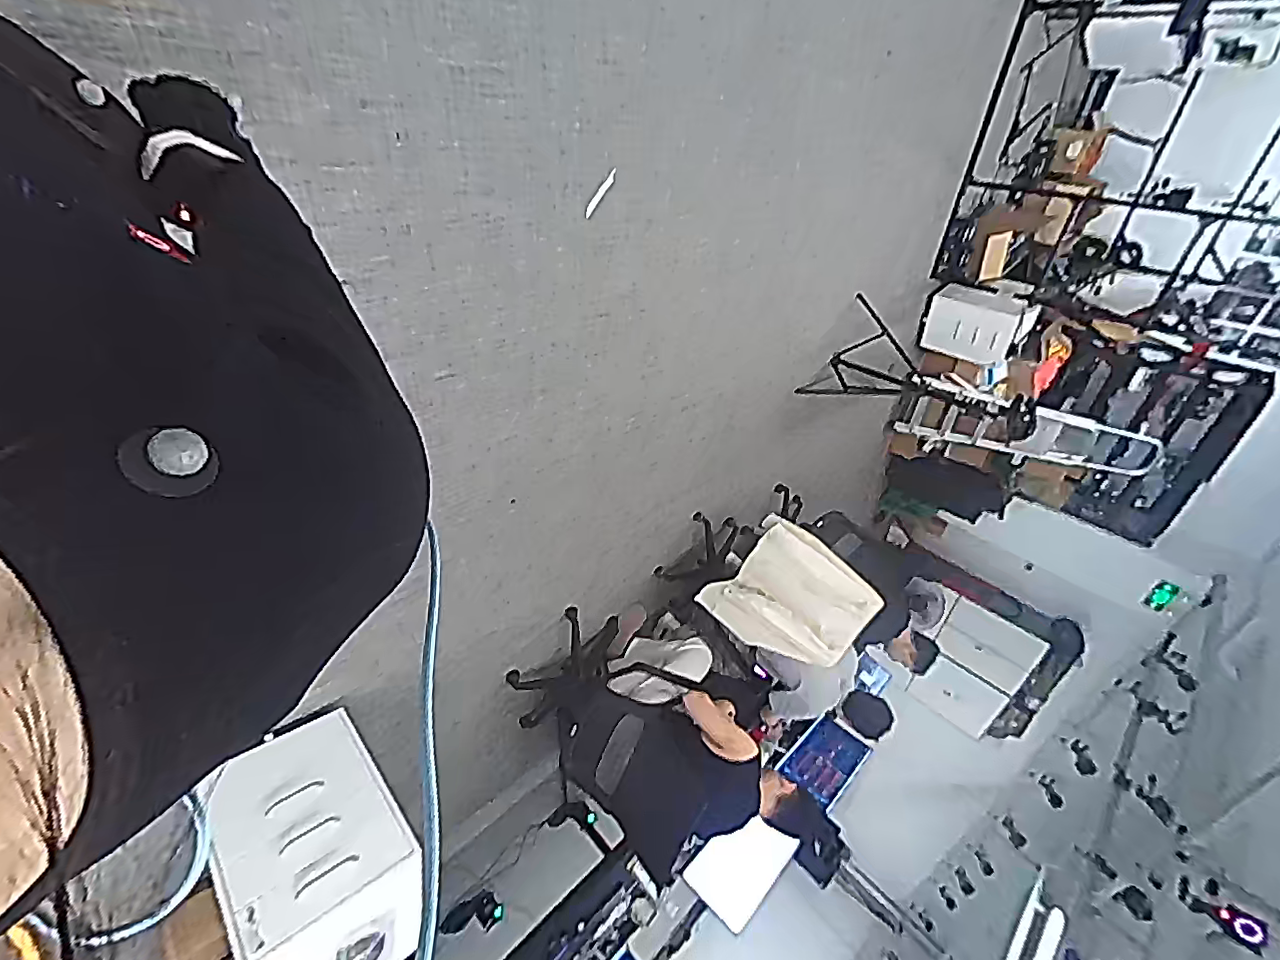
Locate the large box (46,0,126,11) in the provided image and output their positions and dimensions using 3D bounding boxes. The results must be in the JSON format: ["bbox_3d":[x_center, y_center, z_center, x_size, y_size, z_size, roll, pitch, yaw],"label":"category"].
[{"bbox_3d":[-0.847,-0.737,0.556,0.408,0.320,0.320,-23,132,-41],"label":"large box"}]
